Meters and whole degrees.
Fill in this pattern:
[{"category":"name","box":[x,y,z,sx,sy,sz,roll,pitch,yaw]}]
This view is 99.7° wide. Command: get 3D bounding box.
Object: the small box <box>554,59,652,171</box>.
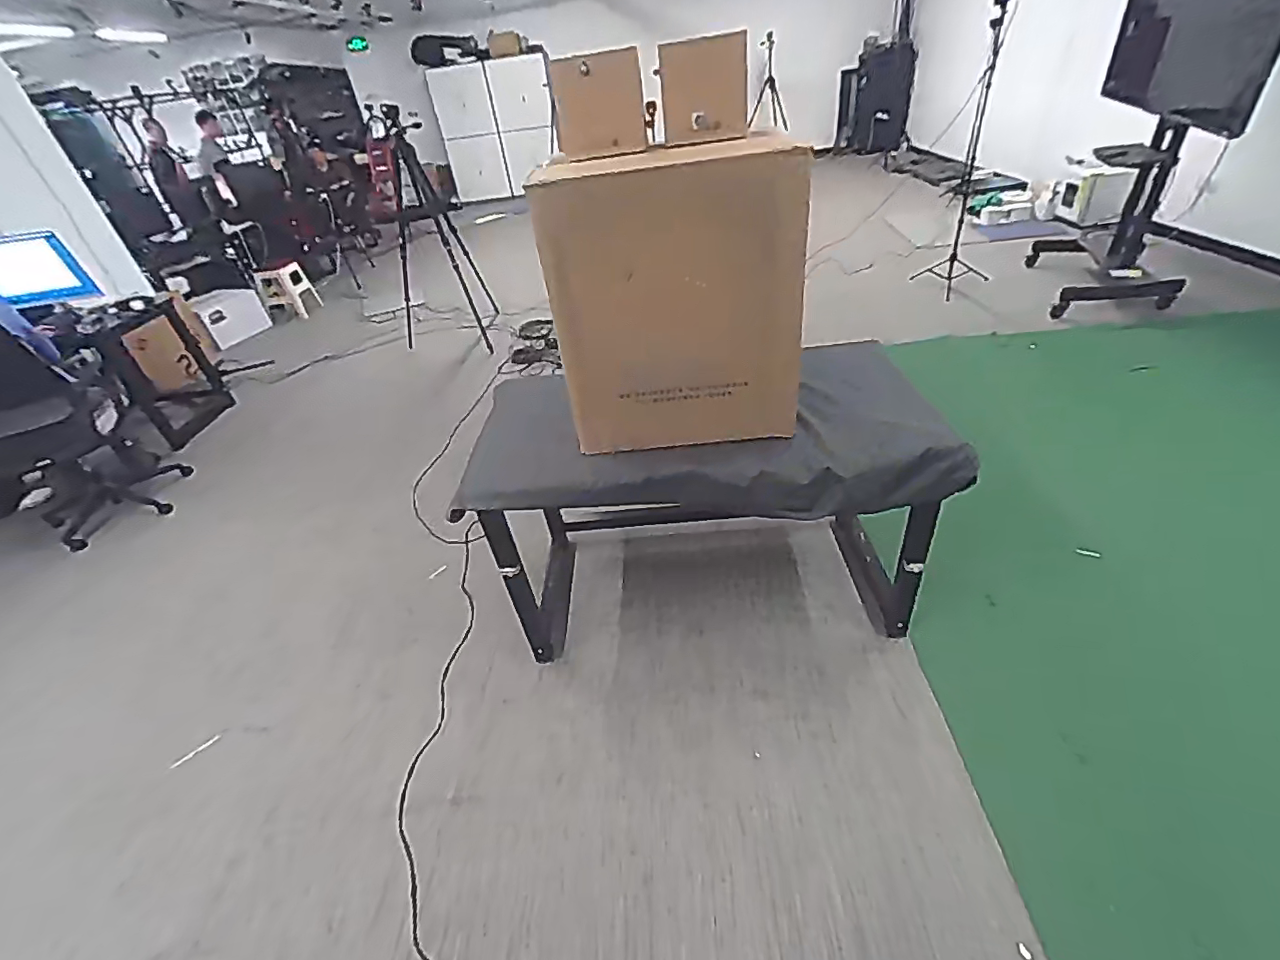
[{"category":"small box","box":[-0.068,-0.751,1.121,0.168,0.176,0.179,-6,35,6]}]
